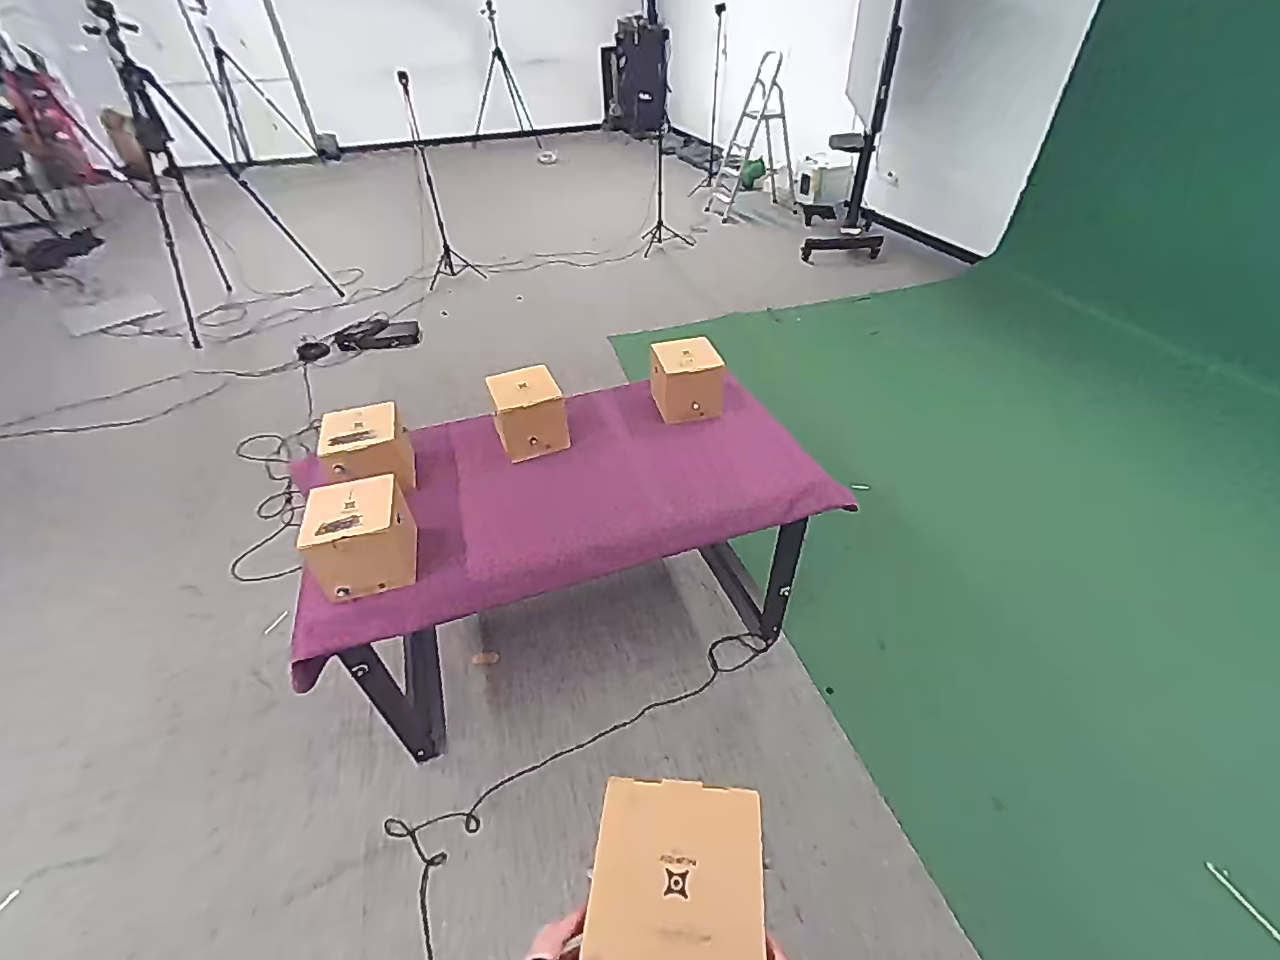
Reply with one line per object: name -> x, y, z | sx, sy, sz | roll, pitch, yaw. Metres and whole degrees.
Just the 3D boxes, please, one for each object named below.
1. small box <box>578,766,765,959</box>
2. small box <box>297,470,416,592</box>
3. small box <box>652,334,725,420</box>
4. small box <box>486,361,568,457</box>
small box -> 0.041, 0.436, 0.574 | 0.168, 0.176, 0.179 | 1, 40, 9
small box -> -0.568, 0.109, 1.109 | 0.168, 0.176, 0.179 | -12, 41, -12
small box -> 0.131, -0.293, 1.537 | 0.168, 0.176, 0.179 | -10, 44, -8
small box -> -0.298, -0.188, 1.437 | 0.168, 0.176, 0.179 | -17, 45, -17
